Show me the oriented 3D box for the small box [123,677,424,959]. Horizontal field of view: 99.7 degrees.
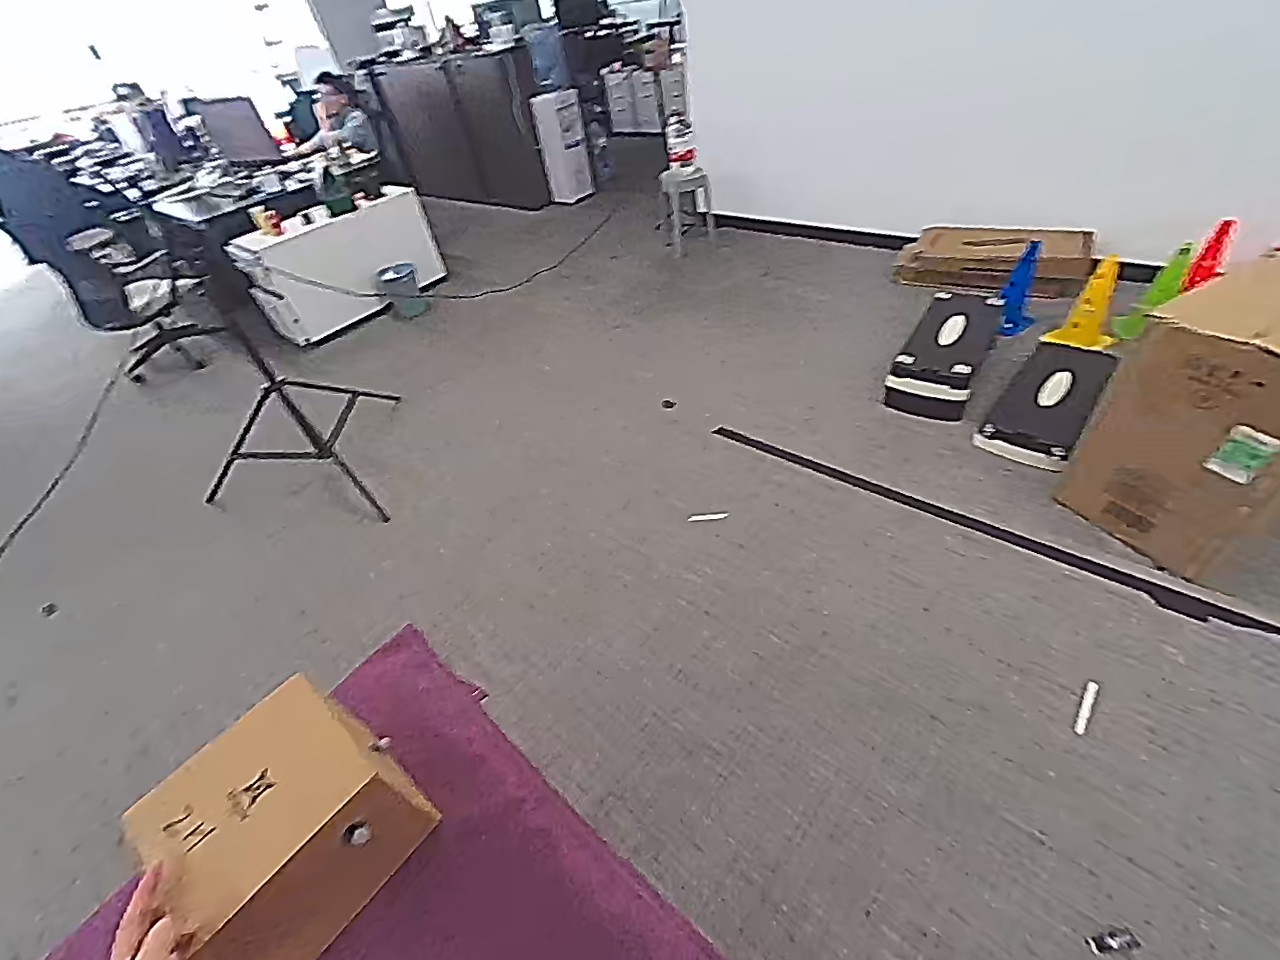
[{"bbox_3d":[-0.348,0.348,0.551,0.168,0.176,0.179,26,55,31],"label":"small box"}]
